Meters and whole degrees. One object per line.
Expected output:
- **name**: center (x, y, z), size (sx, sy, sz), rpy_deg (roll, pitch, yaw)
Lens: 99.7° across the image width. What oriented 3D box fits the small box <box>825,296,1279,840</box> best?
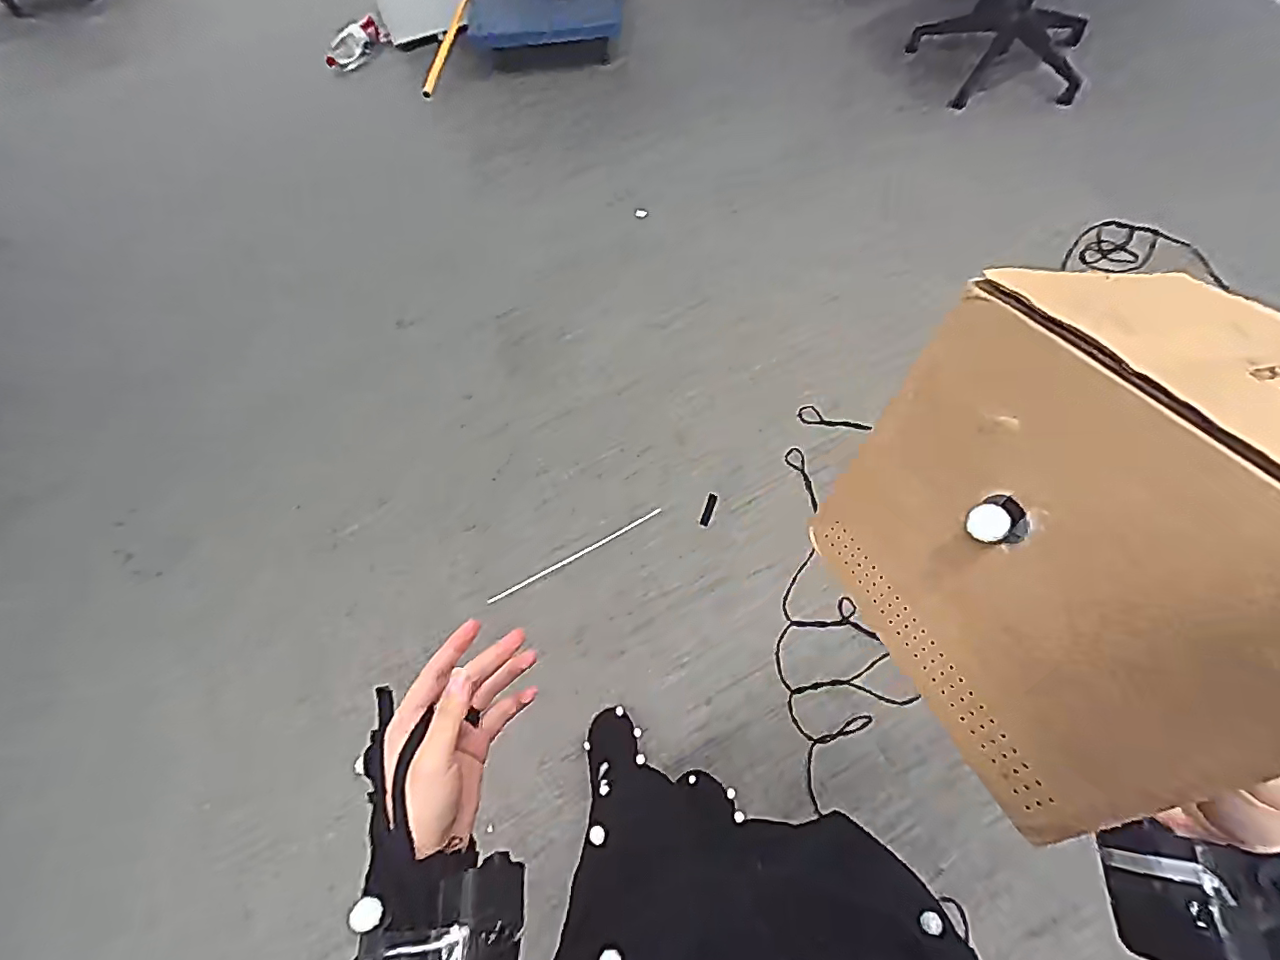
- **small box**: center (0.225, 0.031, 0.259), size (0.168, 0.176, 0.179), rpy_deg (-10, 50, -23)
